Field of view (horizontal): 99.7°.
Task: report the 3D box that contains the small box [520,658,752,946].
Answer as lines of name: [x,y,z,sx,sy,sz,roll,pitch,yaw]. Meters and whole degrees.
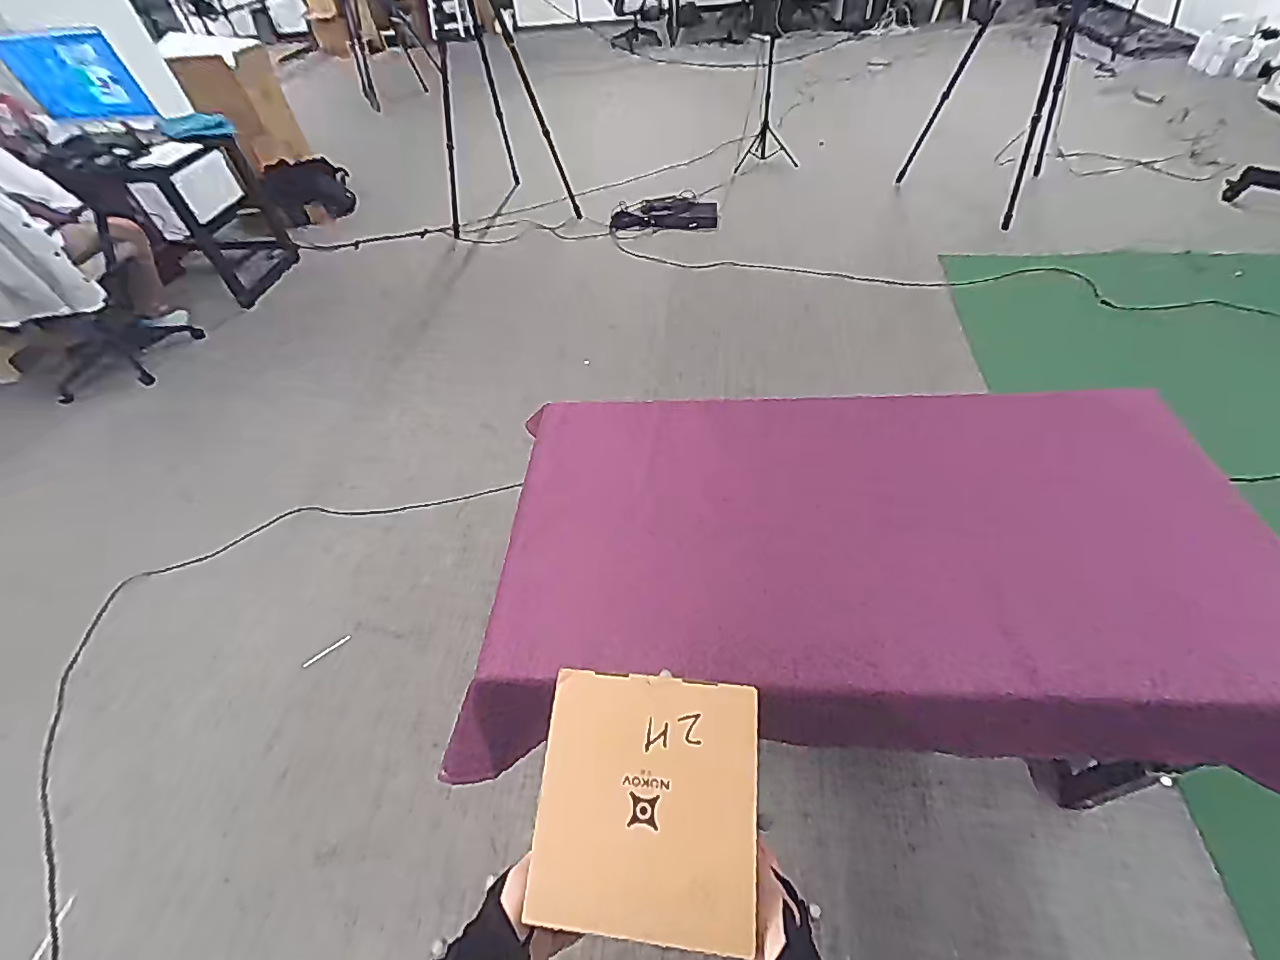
small box: [0.010,0.268,0.485,0.168,0.176,0.179,3,64,8]
